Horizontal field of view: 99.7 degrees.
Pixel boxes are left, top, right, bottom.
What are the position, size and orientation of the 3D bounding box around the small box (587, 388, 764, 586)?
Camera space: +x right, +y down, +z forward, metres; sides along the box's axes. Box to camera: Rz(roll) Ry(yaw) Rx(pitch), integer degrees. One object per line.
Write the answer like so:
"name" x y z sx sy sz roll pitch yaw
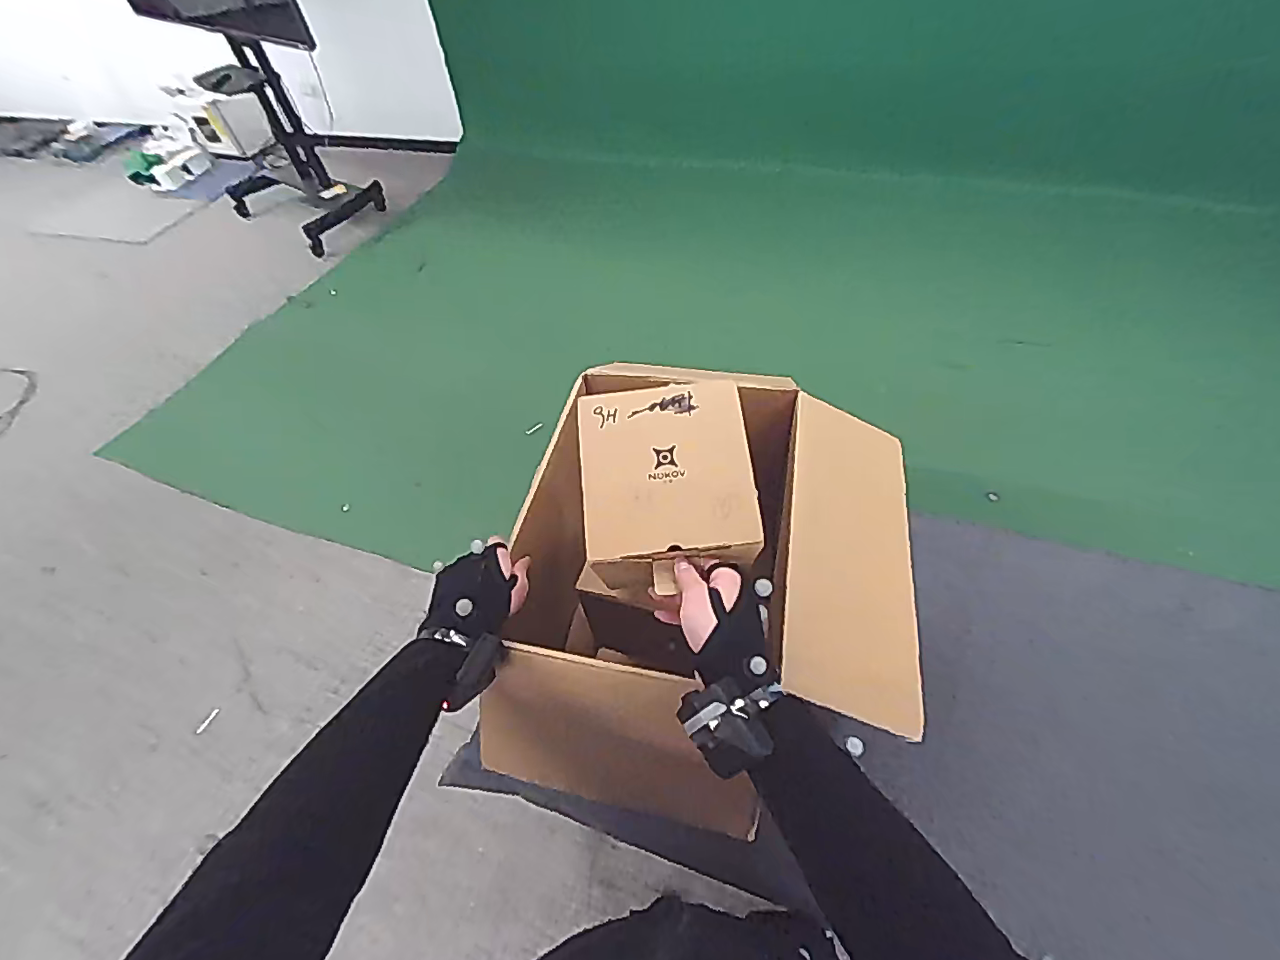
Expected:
"small box" 0.038 0.020 0.609 0.168 0.176 0.179 -6 69 3
